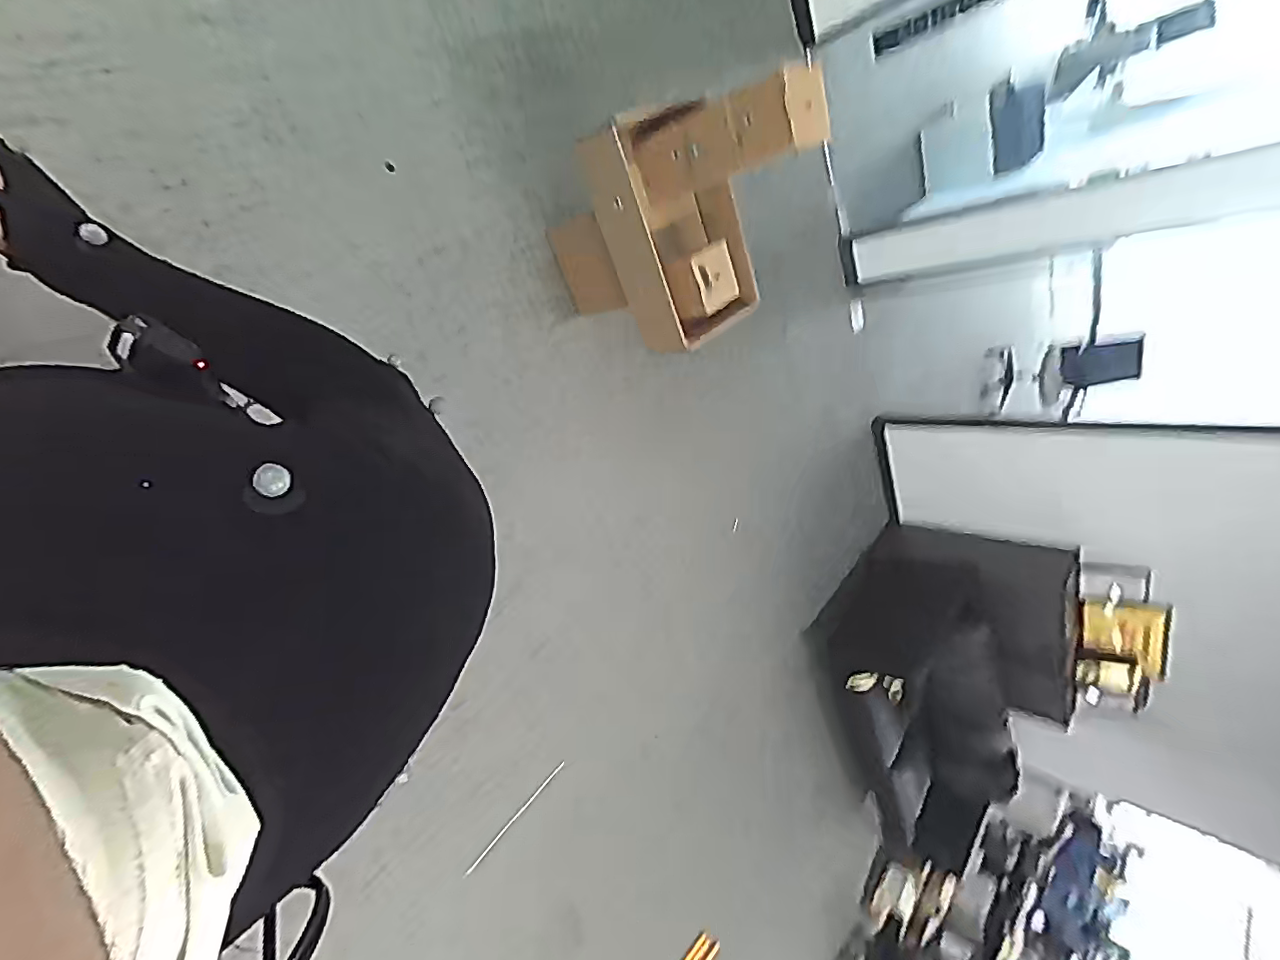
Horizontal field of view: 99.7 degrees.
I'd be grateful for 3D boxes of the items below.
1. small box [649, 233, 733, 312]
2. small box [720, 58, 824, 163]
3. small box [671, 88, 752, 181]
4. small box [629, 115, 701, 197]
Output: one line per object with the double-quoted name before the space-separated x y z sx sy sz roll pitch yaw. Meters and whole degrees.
"small box" 0.148 -0.625 1.645 0.179 0.176 0.168 -41 122 -33
"small box" 0.323 -0.900 1.322 0.179 0.176 0.168 -34 118 -34
"small box" 0.212 -0.920 1.438 0.179 0.176 0.168 -36 118 -34
"small box" 0.099 -0.939 1.556 0.179 0.176 0.168 -38 120 -33
